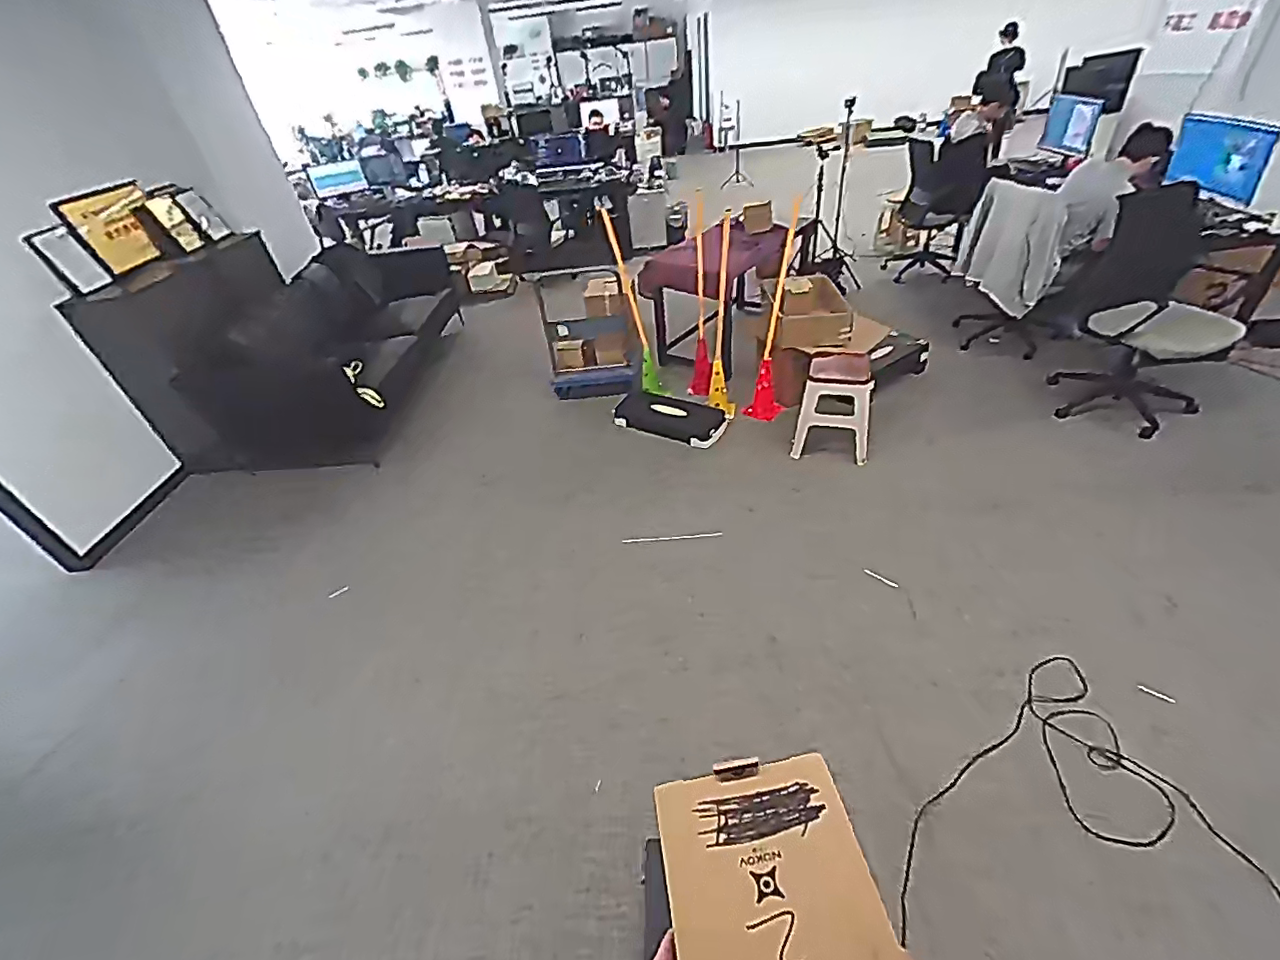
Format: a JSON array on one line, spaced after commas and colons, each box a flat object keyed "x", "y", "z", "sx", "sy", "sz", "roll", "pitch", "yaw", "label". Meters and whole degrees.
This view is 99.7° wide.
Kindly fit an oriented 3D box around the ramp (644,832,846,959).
[{"x": 0.246, "y": 1.269, "z": 1.127, "sx": 0.509, "sy": 0.206, "sz": 0.991, "roll": -6, "pitch": 38, "yaw": 3, "label": "ramp"}]
